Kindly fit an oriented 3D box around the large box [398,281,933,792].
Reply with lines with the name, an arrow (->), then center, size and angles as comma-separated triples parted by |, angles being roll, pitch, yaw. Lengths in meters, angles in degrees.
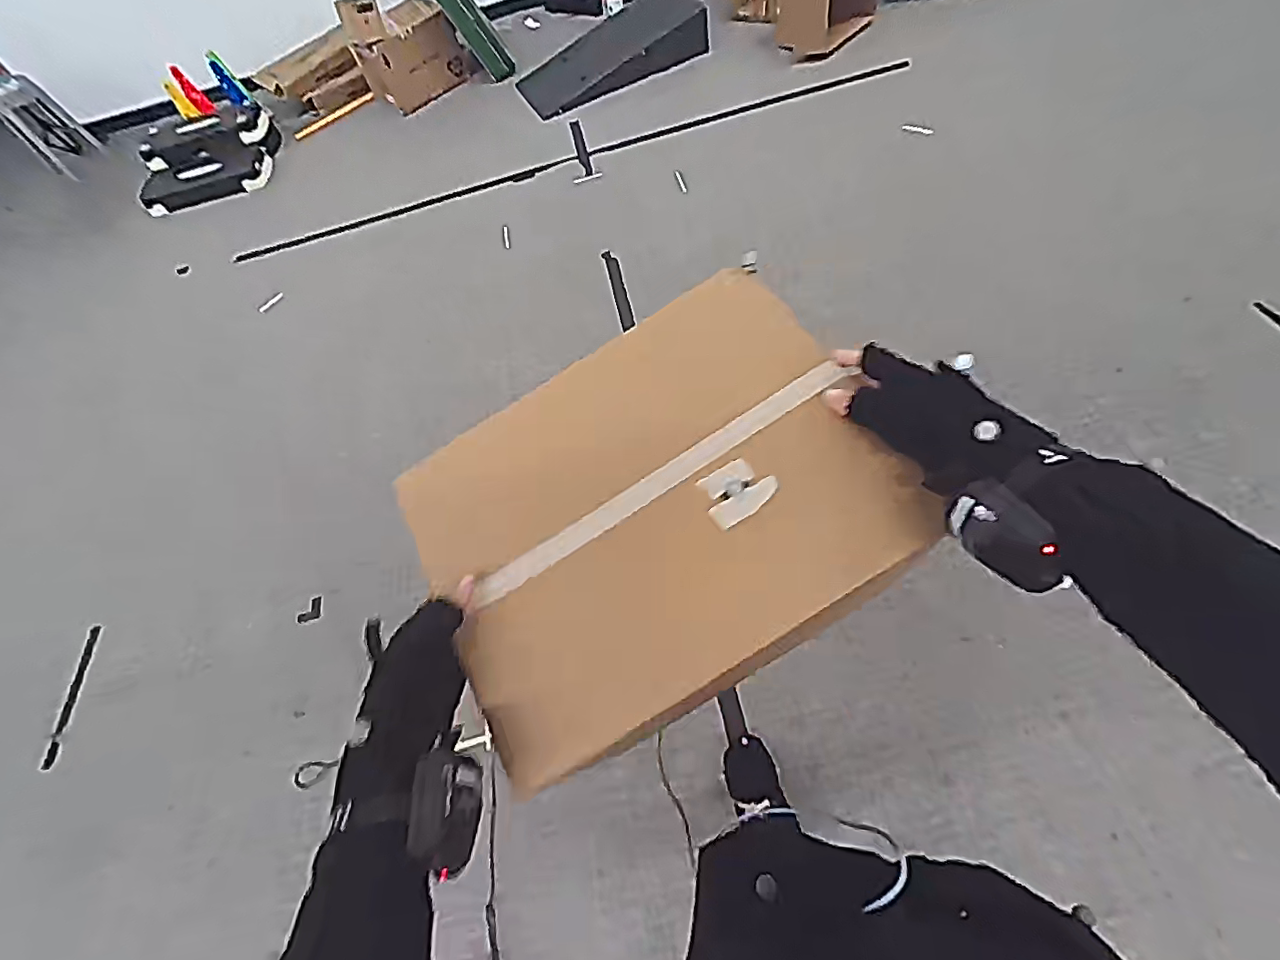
large box -> 0.026, 0.073, 0.620 | 0.408, 0.320, 0.320 | -34, 67, -1
